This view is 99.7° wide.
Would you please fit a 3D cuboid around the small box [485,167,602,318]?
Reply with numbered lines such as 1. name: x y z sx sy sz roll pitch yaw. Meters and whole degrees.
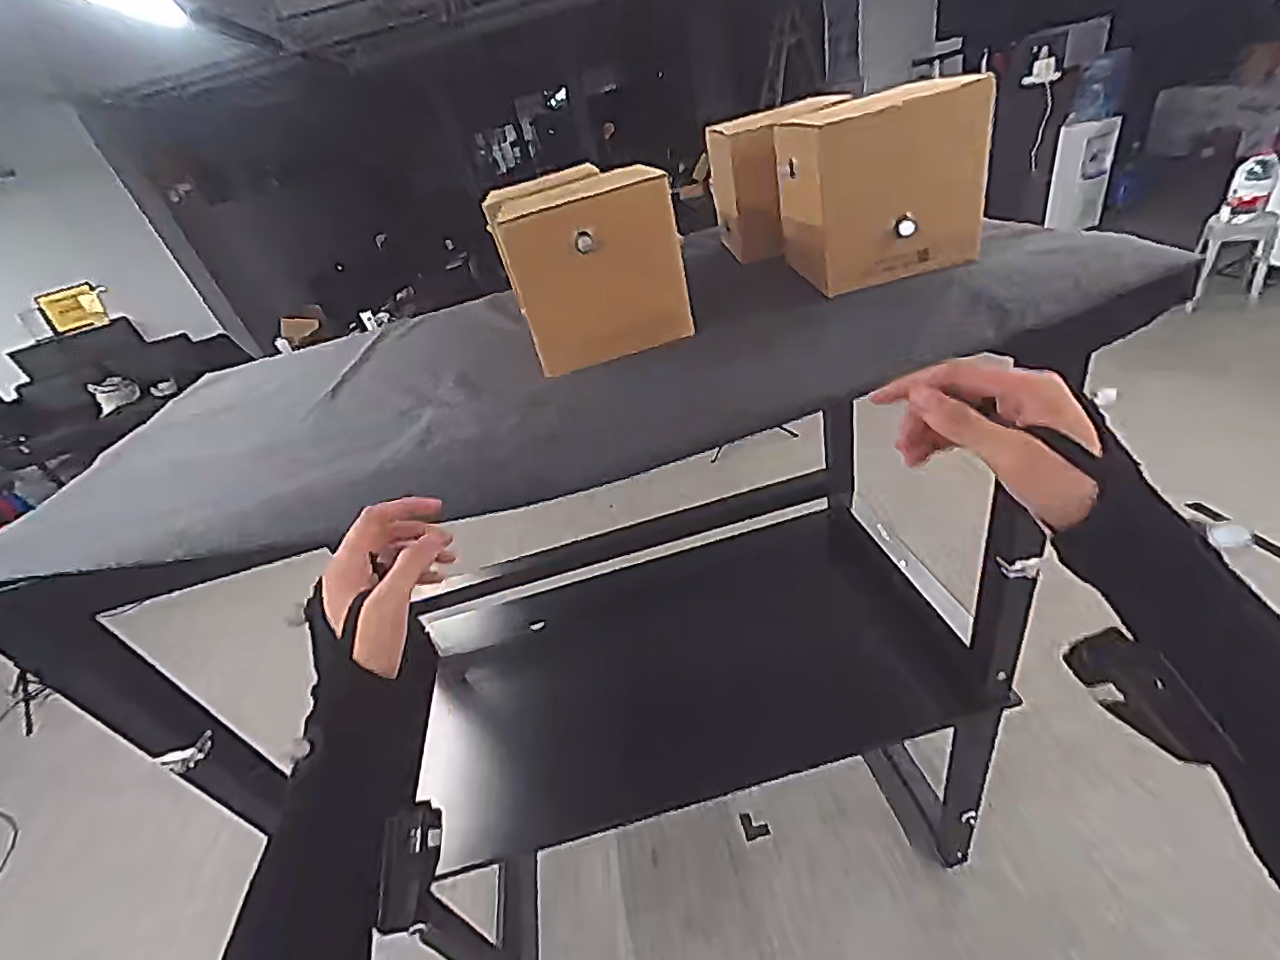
1. small box: -0.124 -0.367 0.837 0.168 0.176 0.179 -17 34 0

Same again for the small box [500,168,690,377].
1. small box: -0.047 -0.244 0.631 0.179 0.176 0.168 -17 34 -1

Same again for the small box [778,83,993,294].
1. small box: 0.266 -0.331 0.624 0.168 0.176 0.179 -13 34 6
